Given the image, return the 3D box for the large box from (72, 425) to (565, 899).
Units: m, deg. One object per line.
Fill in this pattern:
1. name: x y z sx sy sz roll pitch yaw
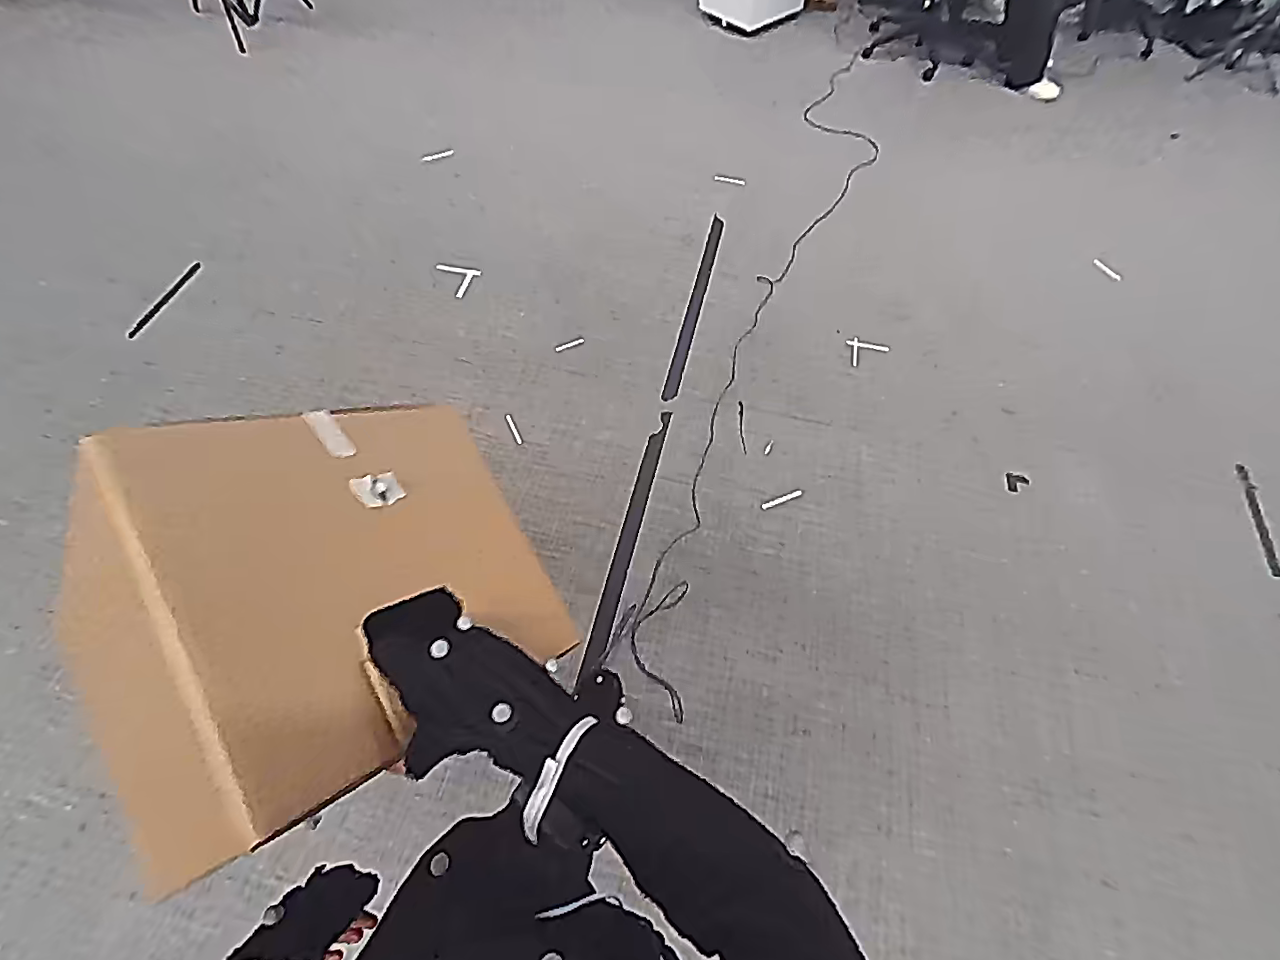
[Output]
1. large box: -0.365 0.184 0.603 0.320 0.408 0.320 -15 70 -54
